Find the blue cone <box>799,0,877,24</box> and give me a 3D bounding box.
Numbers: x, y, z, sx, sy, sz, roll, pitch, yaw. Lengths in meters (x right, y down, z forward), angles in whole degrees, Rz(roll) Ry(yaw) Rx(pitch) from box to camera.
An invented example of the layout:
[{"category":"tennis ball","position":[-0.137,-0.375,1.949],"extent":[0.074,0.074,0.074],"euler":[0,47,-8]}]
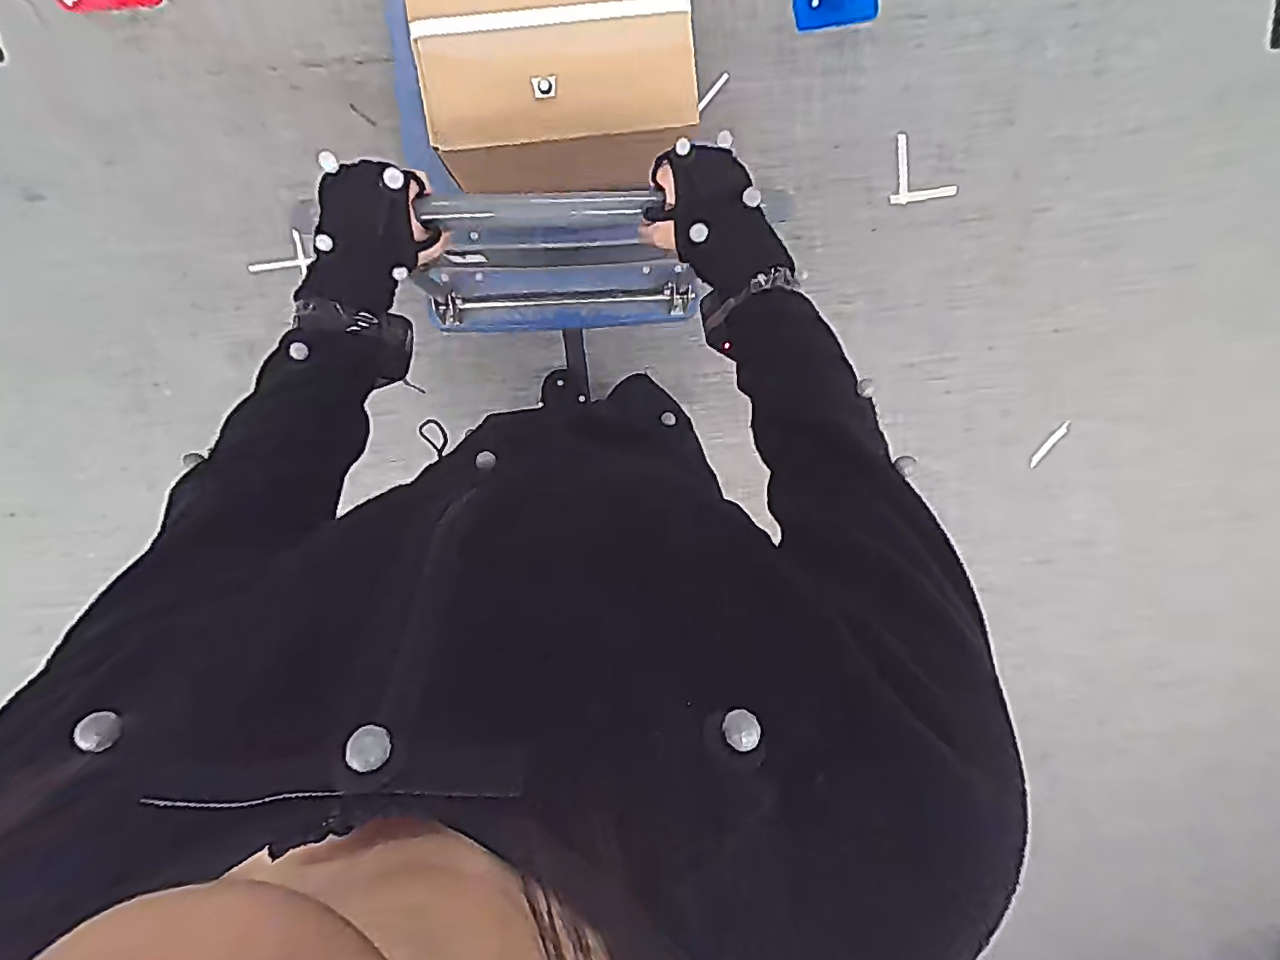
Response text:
[{"category":"blue cone","position":[0.462,-1.117,1.069],"extent":[0.193,0.380,0.192],"euler":[-11,103,-4]}]
